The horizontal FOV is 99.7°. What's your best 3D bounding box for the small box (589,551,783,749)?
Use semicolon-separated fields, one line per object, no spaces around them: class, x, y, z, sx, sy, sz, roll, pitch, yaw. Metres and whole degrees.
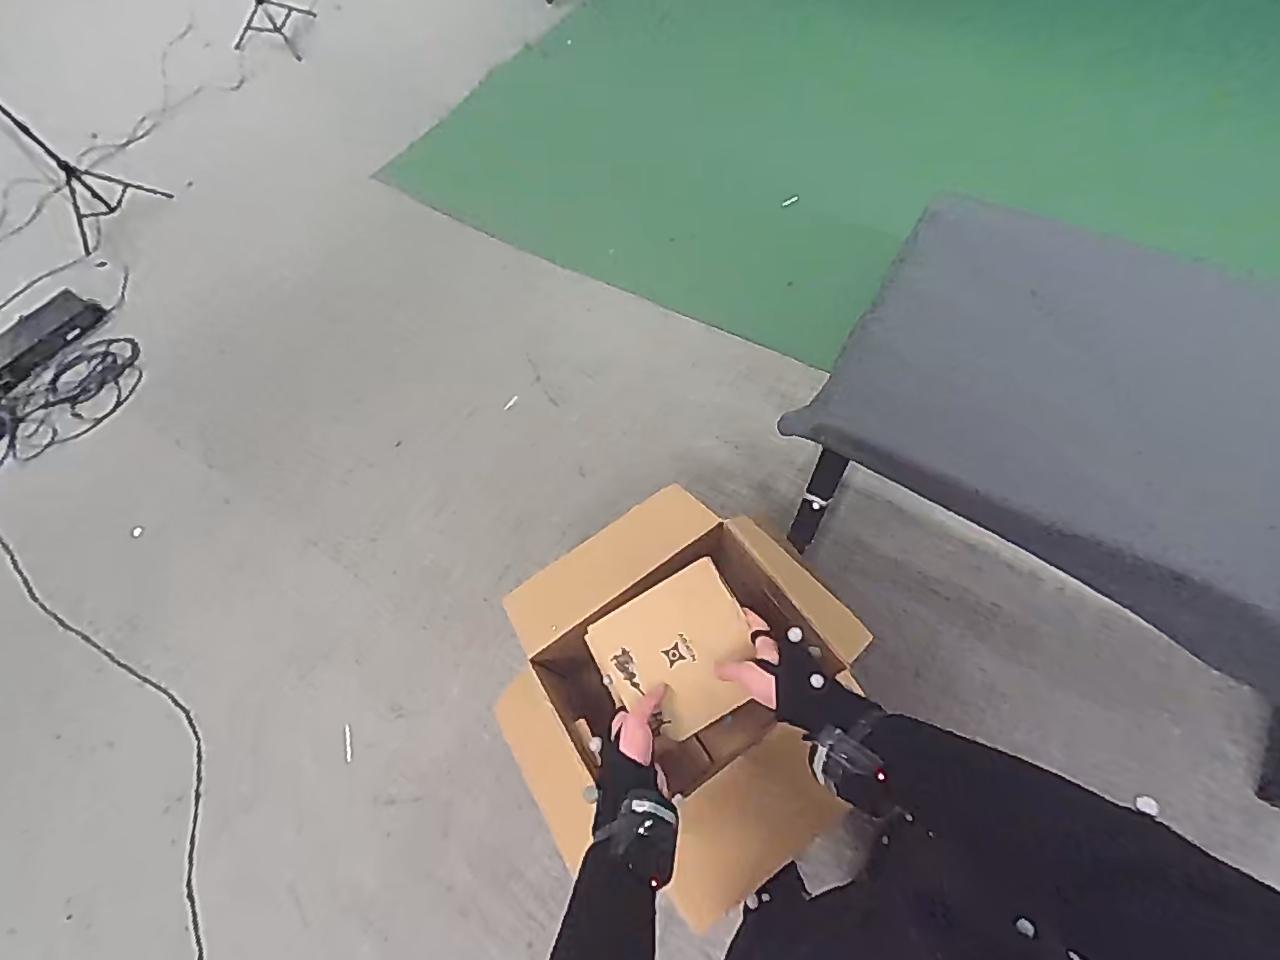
small box;0.061;0.218;0.700;0.179;0.176;0.168;-30;67;-2
